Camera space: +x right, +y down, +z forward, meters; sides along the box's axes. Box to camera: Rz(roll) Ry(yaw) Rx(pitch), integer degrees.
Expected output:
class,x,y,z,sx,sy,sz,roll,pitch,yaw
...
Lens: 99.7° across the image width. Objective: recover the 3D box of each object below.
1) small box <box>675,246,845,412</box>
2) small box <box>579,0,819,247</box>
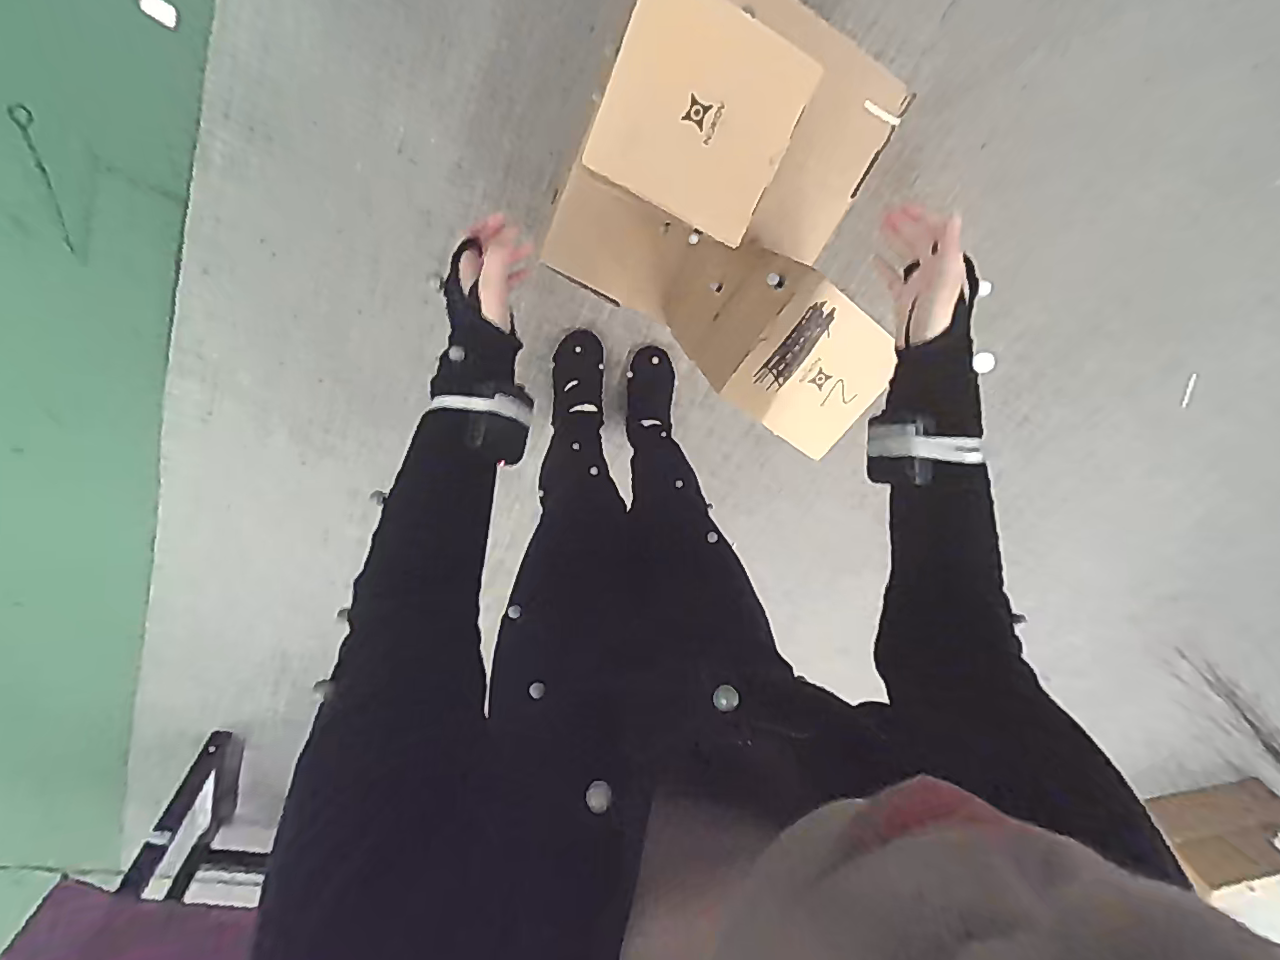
class,x,y,z,sx,sy,sz,roll,pitch,yaw
small box,0.171,-0.240,0.839,0.168,0.176,0.179,25,112,-20
small box,0.044,-0.366,0.568,0.179,0.176,0.168,20,113,-18
